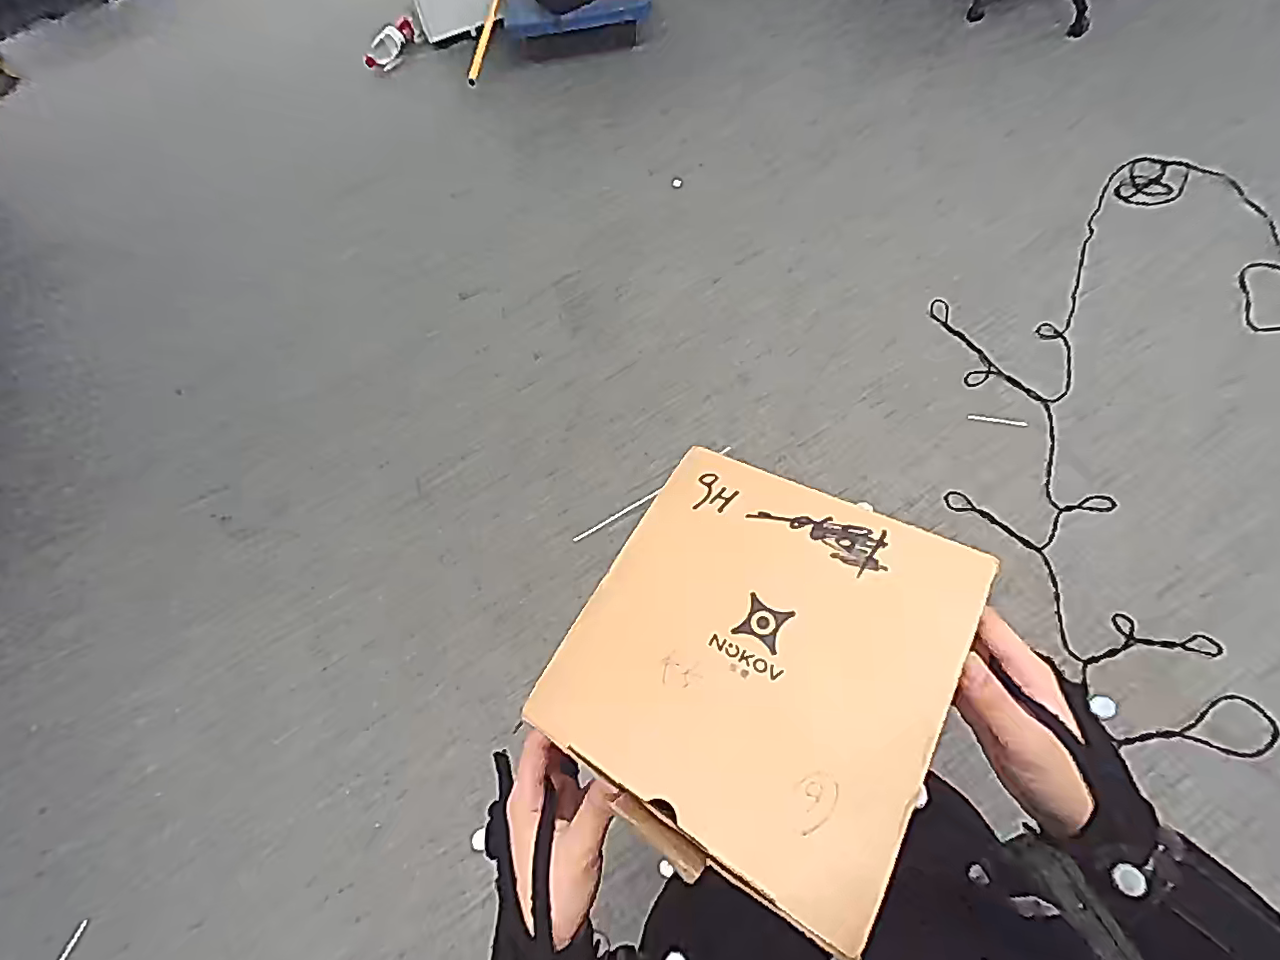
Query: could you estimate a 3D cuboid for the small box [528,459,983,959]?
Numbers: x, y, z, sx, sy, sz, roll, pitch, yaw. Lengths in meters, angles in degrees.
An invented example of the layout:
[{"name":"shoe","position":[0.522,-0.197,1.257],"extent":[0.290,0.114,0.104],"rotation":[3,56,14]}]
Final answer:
[{"name":"small box","position":[0.072,0.123,0.328],"extent":[0.168,0.176,0.179],"rotation":[23,67,27]}]
